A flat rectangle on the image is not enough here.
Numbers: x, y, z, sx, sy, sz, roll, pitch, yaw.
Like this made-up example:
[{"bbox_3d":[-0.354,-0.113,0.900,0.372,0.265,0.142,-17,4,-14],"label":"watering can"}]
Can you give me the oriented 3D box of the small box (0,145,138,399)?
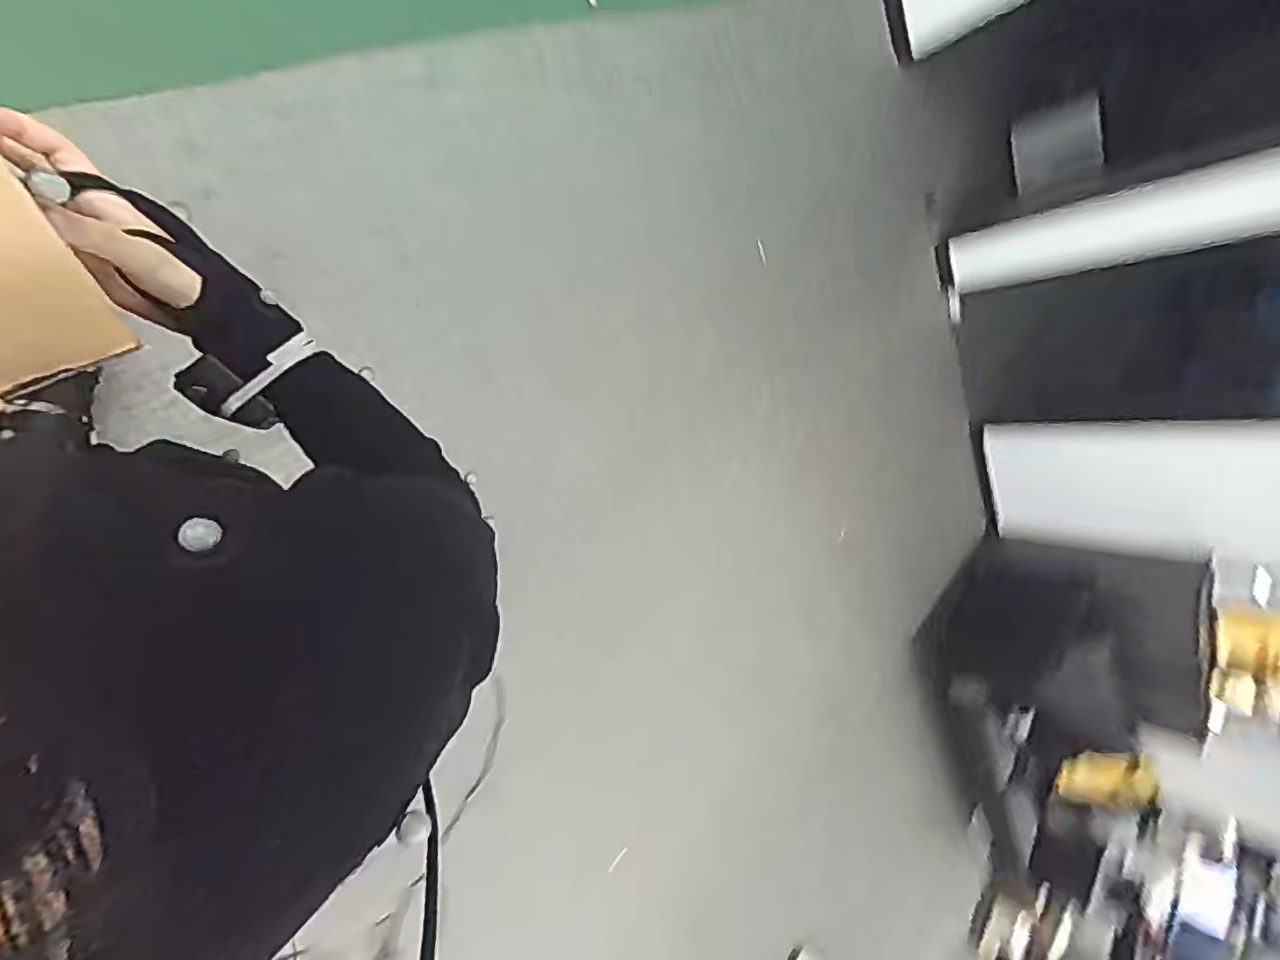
[{"bbox_3d":[-0.398,-0.121,0.250,0.168,0.176,0.179,-37,133,-35],"label":"small box"}]
